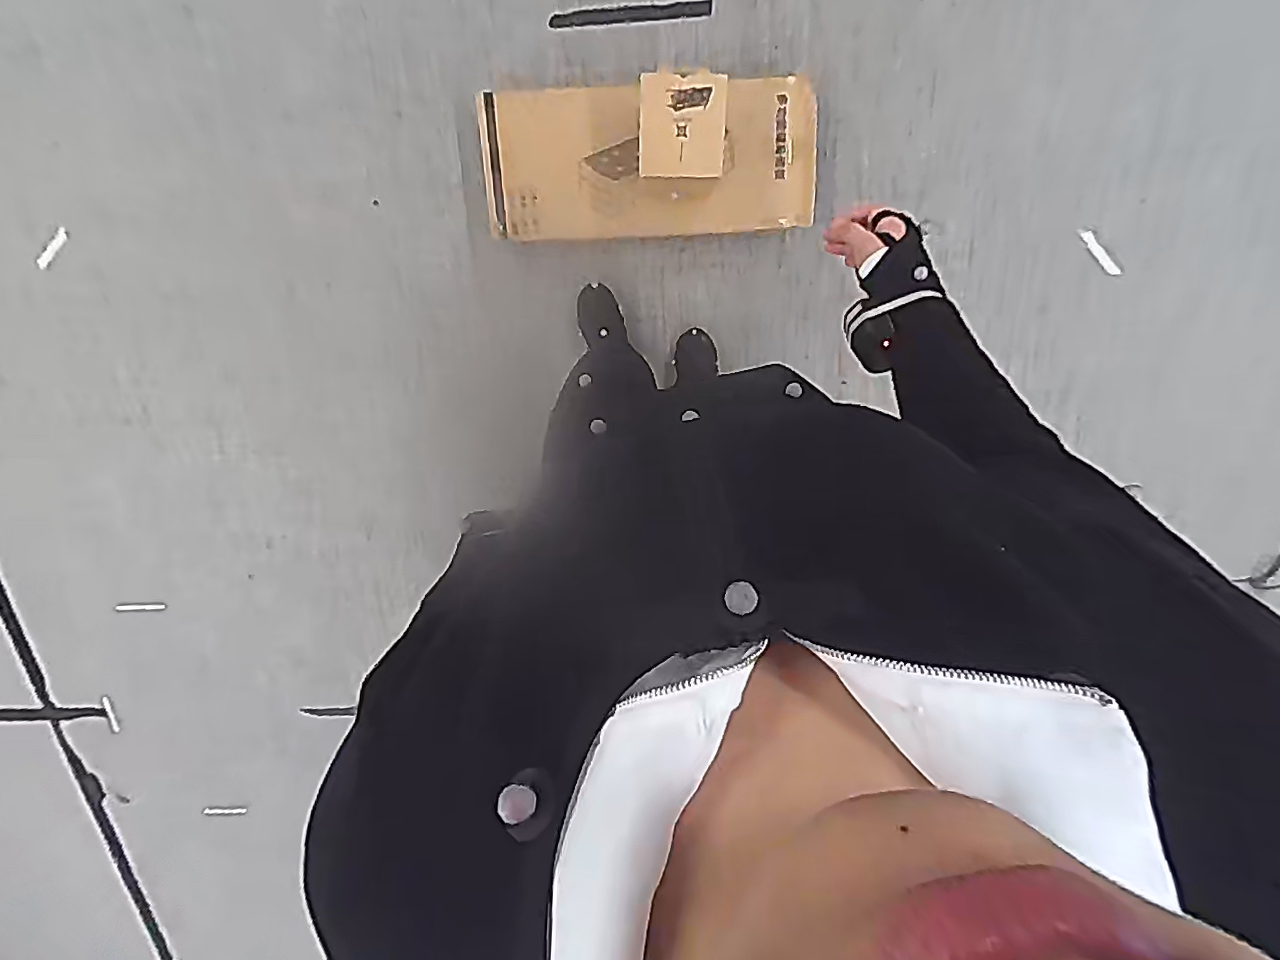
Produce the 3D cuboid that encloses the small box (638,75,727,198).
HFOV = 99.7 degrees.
[{"bbox_3d":[0.081,-0.698,1.115,0.168,0.176,0.179,1,107,0],"label":"small box"}]
